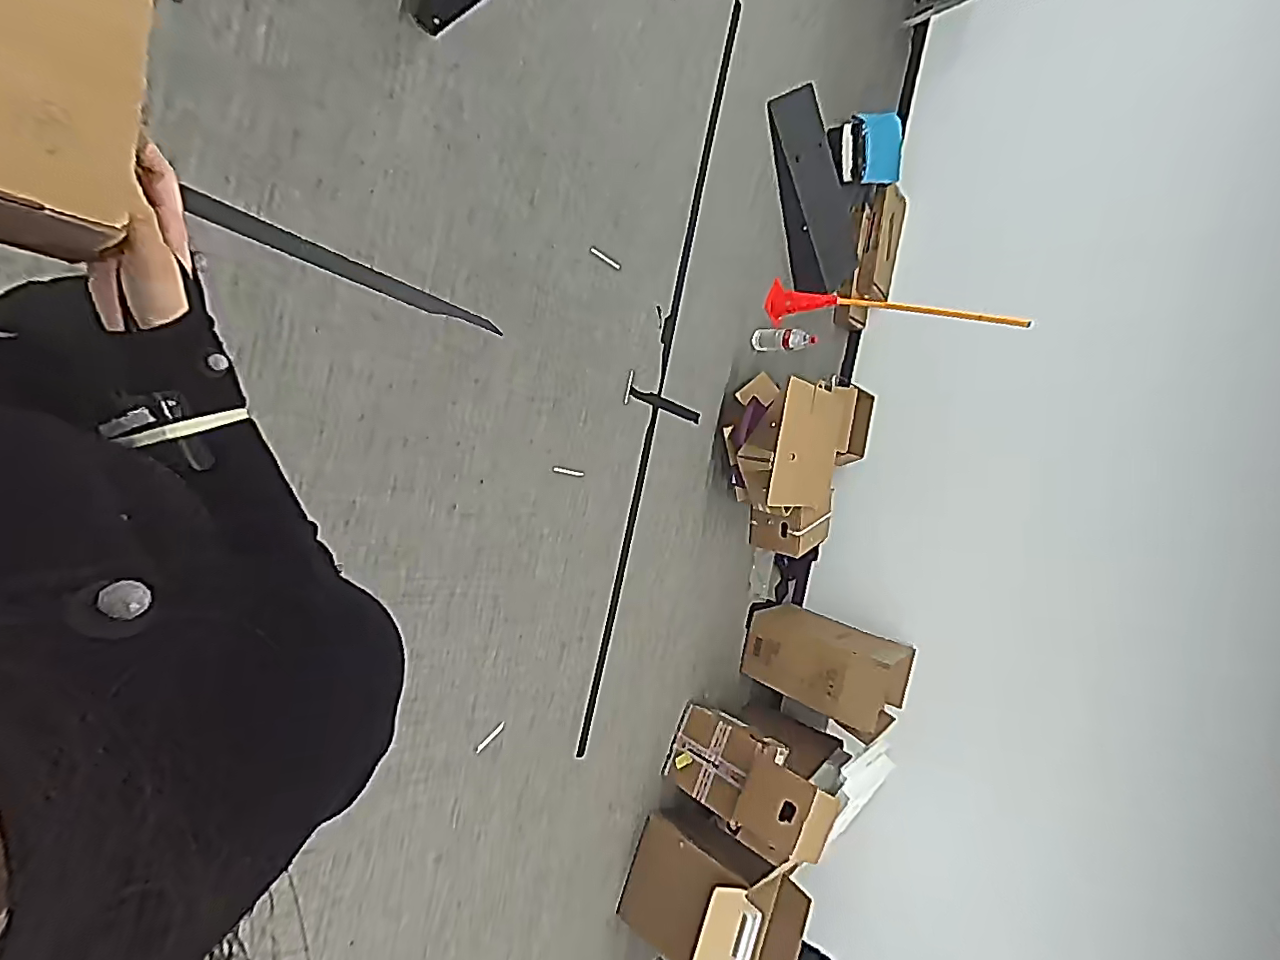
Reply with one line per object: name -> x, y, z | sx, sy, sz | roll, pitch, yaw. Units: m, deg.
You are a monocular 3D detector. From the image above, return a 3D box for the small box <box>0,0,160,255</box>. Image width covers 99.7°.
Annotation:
small box -> -0.375, -0.232, 0.275 | 0.168, 0.176, 0.179 | 6, 95, -53
